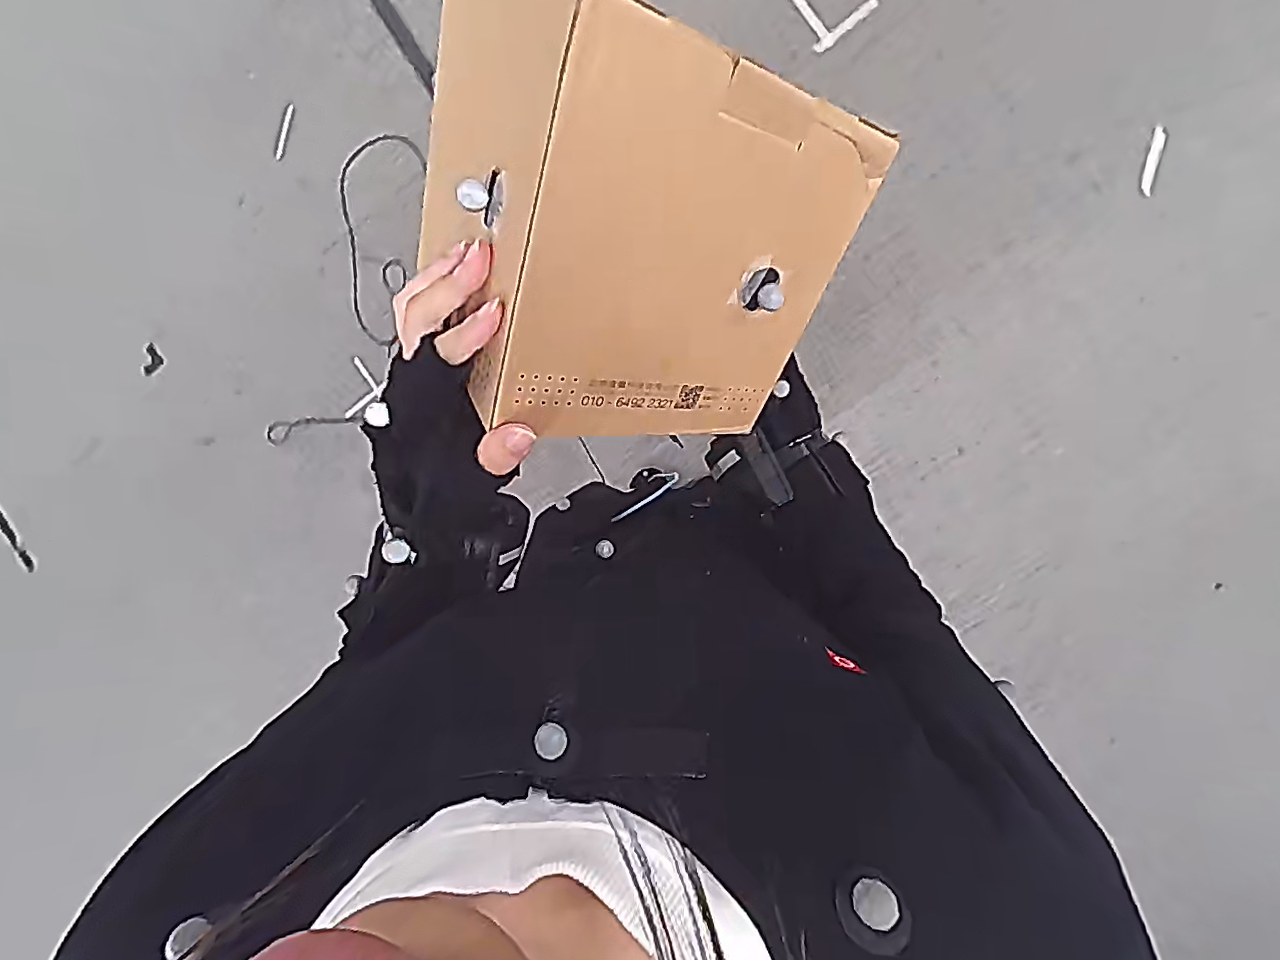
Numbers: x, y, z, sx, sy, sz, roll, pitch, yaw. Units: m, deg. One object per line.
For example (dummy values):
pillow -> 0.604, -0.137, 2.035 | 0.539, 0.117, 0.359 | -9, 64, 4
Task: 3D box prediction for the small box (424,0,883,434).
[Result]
small box -> -0.016, -0.138, 0.305 | 0.168, 0.179, 0.176 | -3, 131, -33
